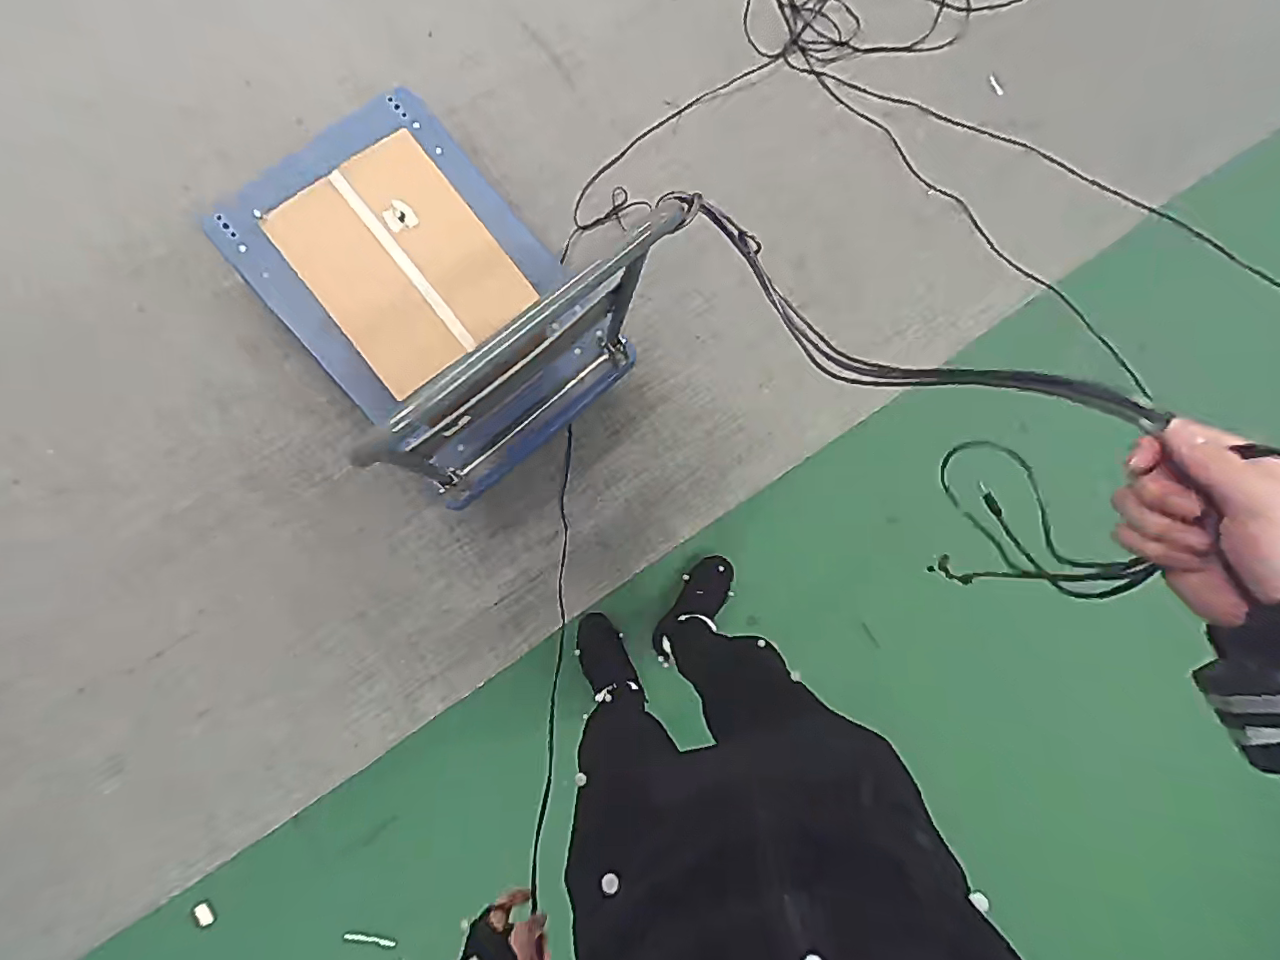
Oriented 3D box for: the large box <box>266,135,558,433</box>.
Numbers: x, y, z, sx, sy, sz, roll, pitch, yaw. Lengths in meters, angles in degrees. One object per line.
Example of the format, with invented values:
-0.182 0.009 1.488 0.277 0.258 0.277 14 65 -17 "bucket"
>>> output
-0.415 -0.360 1.092 0.320 0.320 0.408 -39 89 -9 "large box"
